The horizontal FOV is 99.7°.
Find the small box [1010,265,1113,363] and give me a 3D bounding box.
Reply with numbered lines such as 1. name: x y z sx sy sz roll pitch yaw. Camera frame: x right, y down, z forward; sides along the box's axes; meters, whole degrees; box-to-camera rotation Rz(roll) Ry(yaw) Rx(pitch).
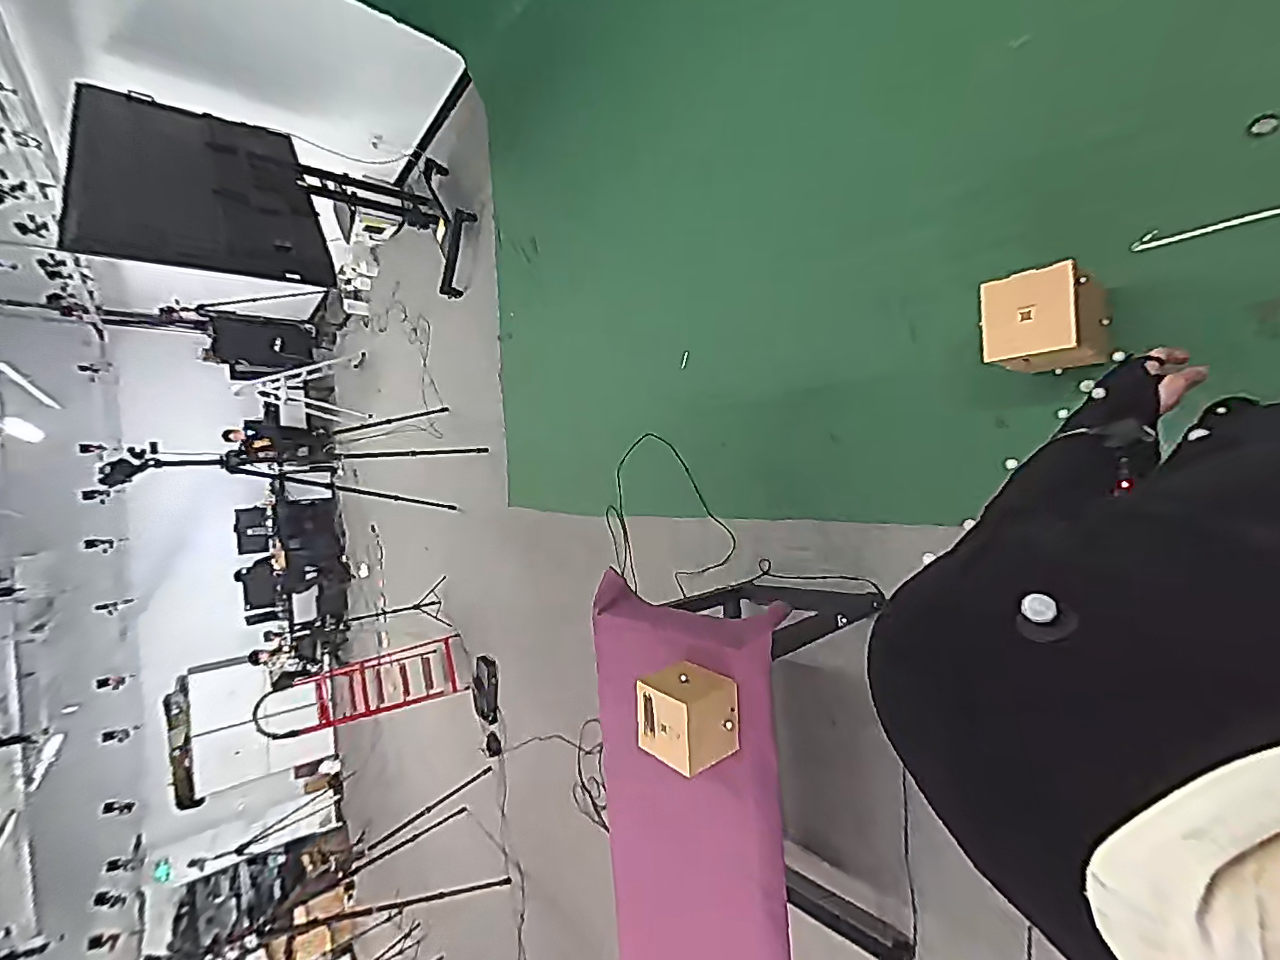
1. small box: 0.996 -0.383 1.280 0.168 0.176 0.179 -2 92 51

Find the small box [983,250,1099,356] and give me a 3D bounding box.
1. small box: 0.873 -0.373 1.176 0.168 0.176 0.179 -3 90 51
